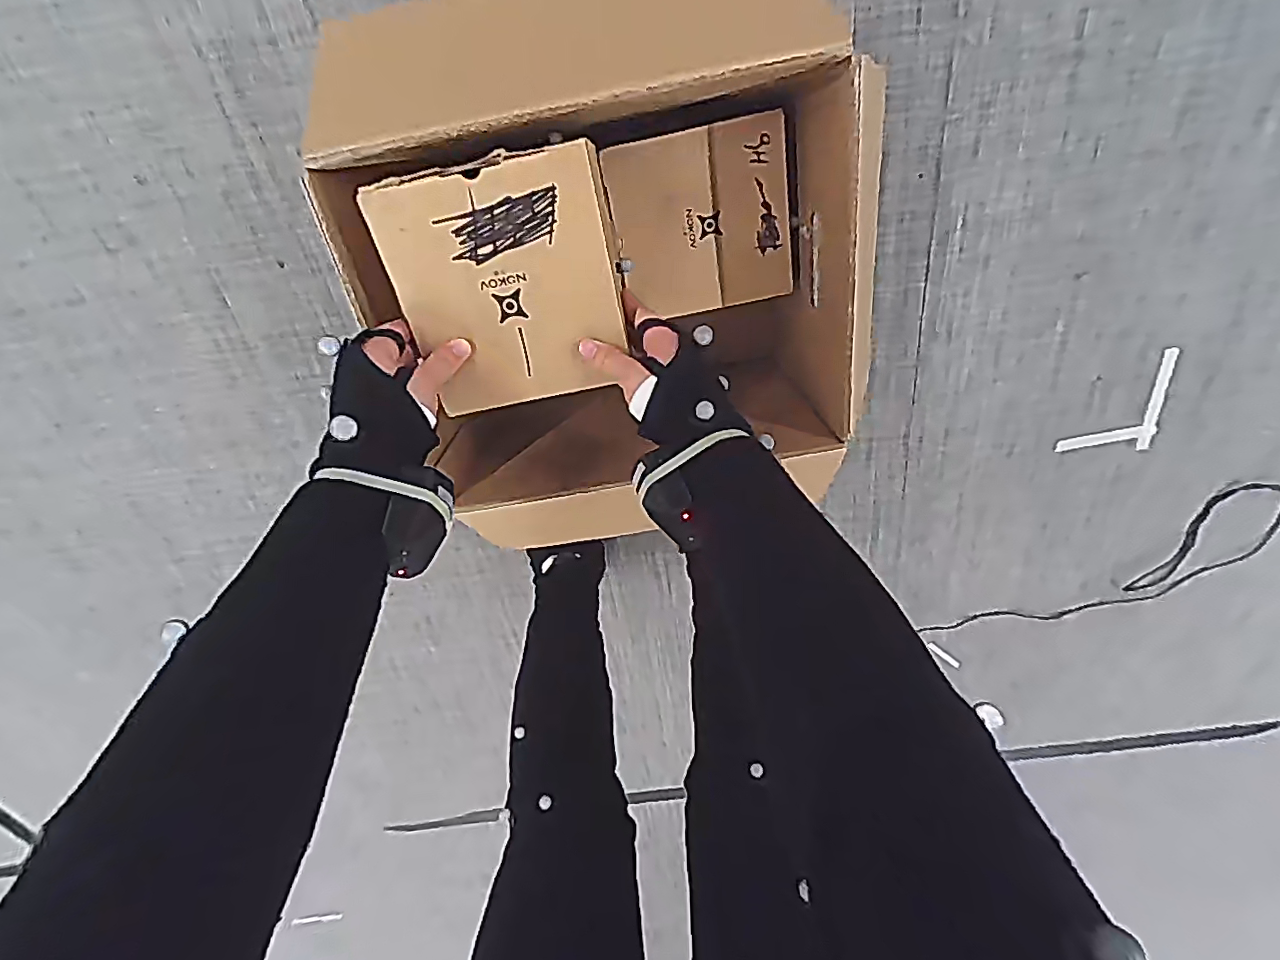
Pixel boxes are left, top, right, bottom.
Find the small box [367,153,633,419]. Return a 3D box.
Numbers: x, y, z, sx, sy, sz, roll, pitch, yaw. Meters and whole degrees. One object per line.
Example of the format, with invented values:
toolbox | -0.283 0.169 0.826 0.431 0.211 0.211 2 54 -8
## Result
small box | -0.105 -0.180 0.488 0.168 0.176 0.179 -10 122 3
